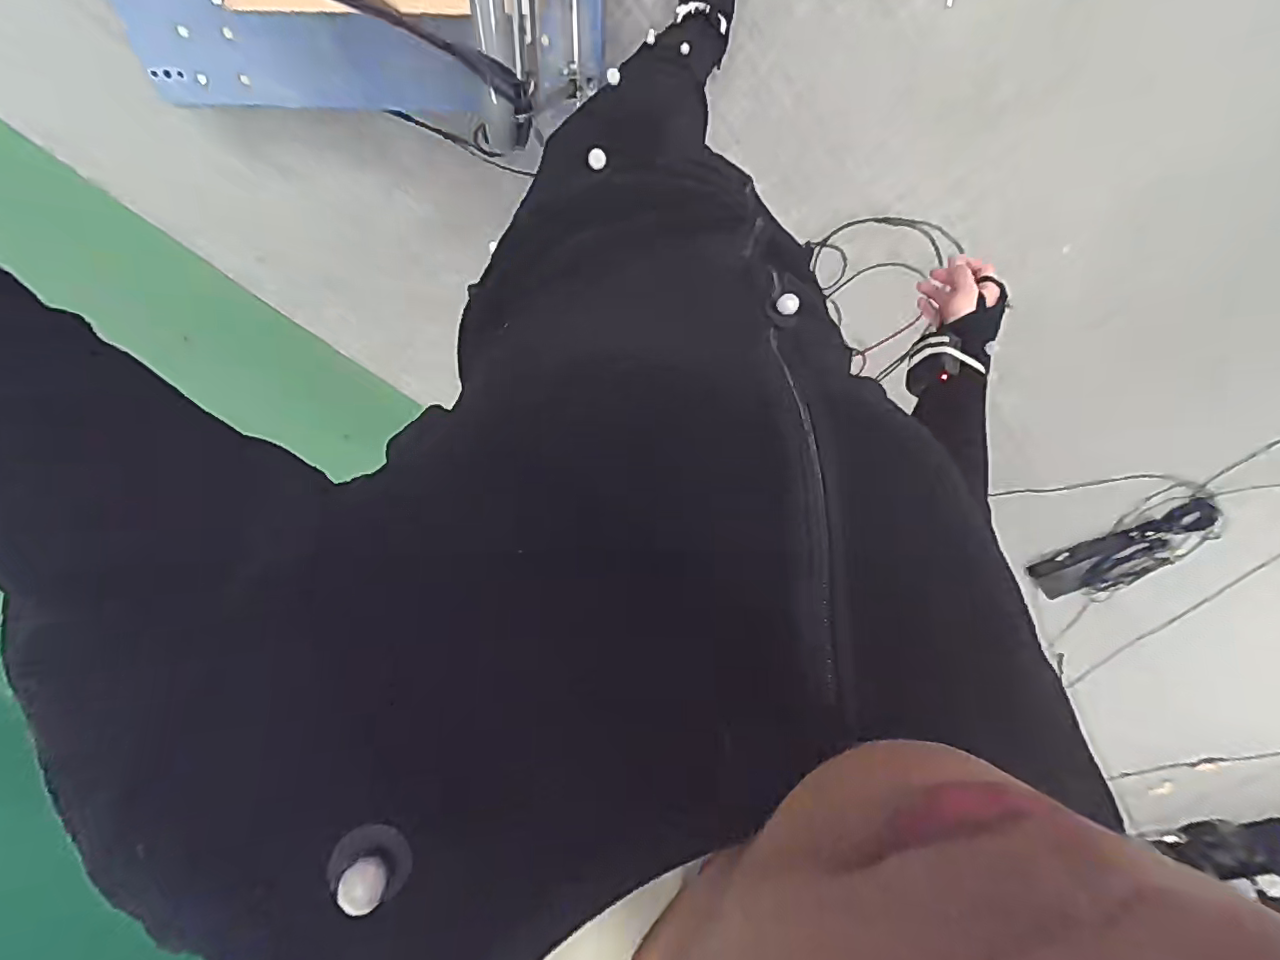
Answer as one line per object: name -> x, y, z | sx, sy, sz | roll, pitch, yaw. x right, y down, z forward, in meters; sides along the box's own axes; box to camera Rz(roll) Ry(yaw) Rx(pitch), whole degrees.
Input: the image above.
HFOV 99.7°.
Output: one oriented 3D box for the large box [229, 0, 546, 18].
large box -> -0.363, -0.857, 0.754 | 0.408, 0.320, 0.320 | 0, 131, 0
